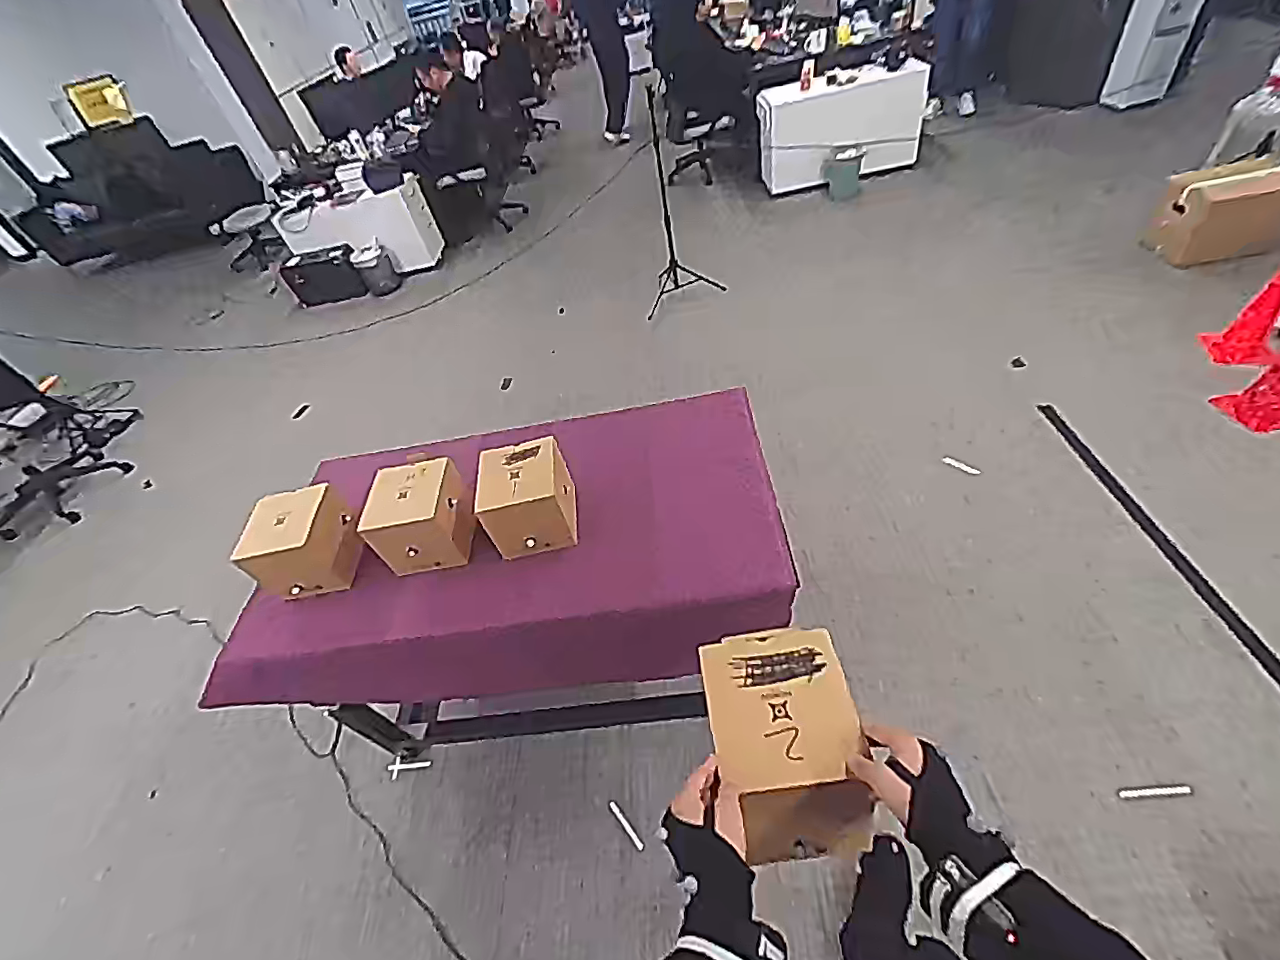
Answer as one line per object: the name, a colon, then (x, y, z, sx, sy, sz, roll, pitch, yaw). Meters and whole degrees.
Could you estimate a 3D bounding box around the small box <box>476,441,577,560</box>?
small box: (-0.238, 0.046, 1.173, 0.168, 0.176, 0.179, -13, 46, 3)

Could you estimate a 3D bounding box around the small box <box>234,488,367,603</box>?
small box: (-0.743, 0.148, 1.211, 0.168, 0.176, 0.179, -12, 45, 4)

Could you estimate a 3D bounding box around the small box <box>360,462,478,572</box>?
small box: (-0.475, 0.089, 1.195, 0.168, 0.176, 0.179, -10, 46, 5)
